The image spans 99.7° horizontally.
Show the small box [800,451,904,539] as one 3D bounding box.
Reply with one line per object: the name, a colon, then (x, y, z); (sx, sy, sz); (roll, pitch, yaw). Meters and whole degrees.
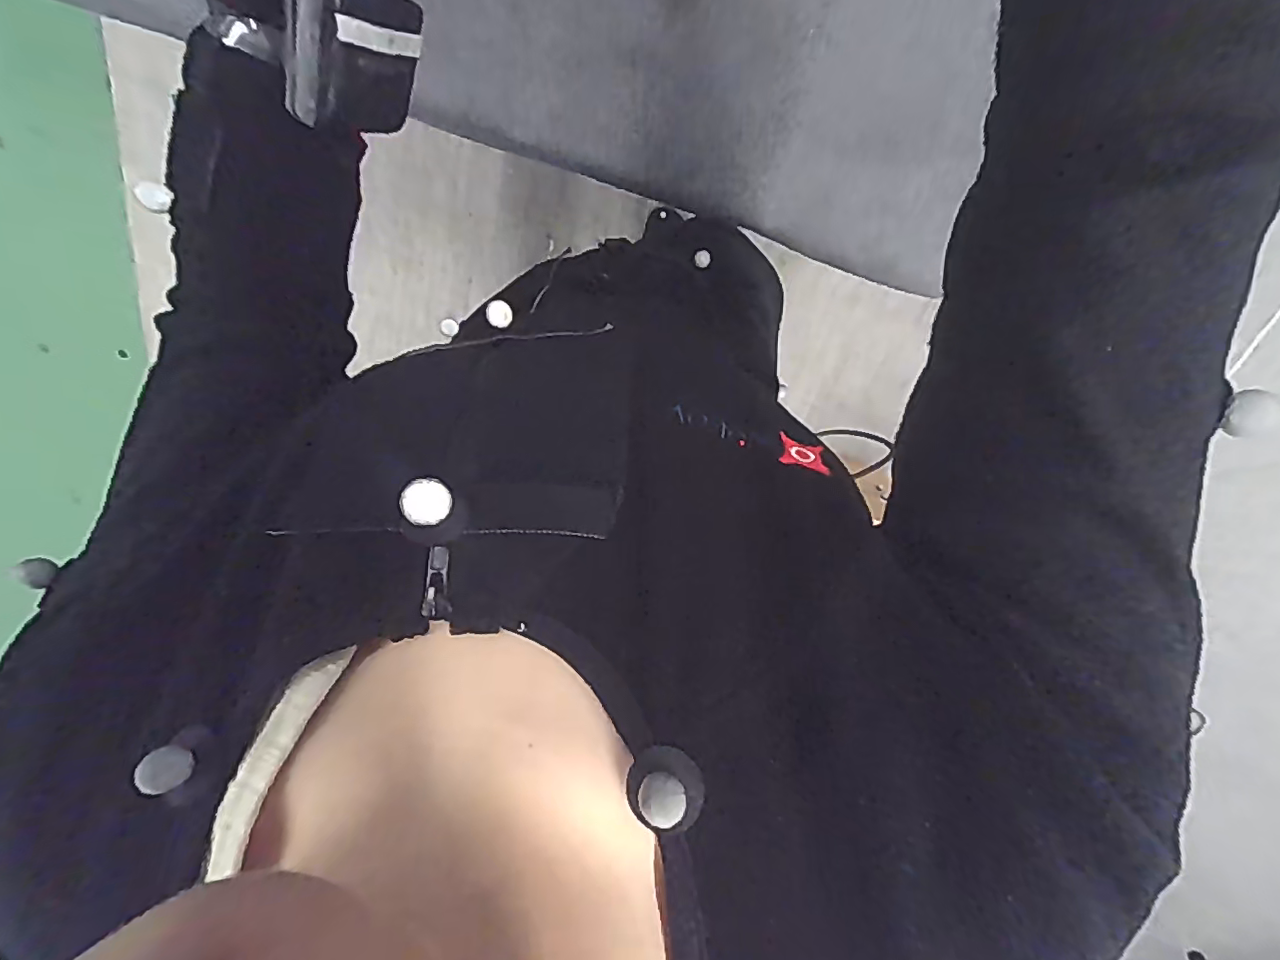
small box: (0.508, 0.059, 1.330); (0.168, 0.176, 0.179); (20, 118, -4)
